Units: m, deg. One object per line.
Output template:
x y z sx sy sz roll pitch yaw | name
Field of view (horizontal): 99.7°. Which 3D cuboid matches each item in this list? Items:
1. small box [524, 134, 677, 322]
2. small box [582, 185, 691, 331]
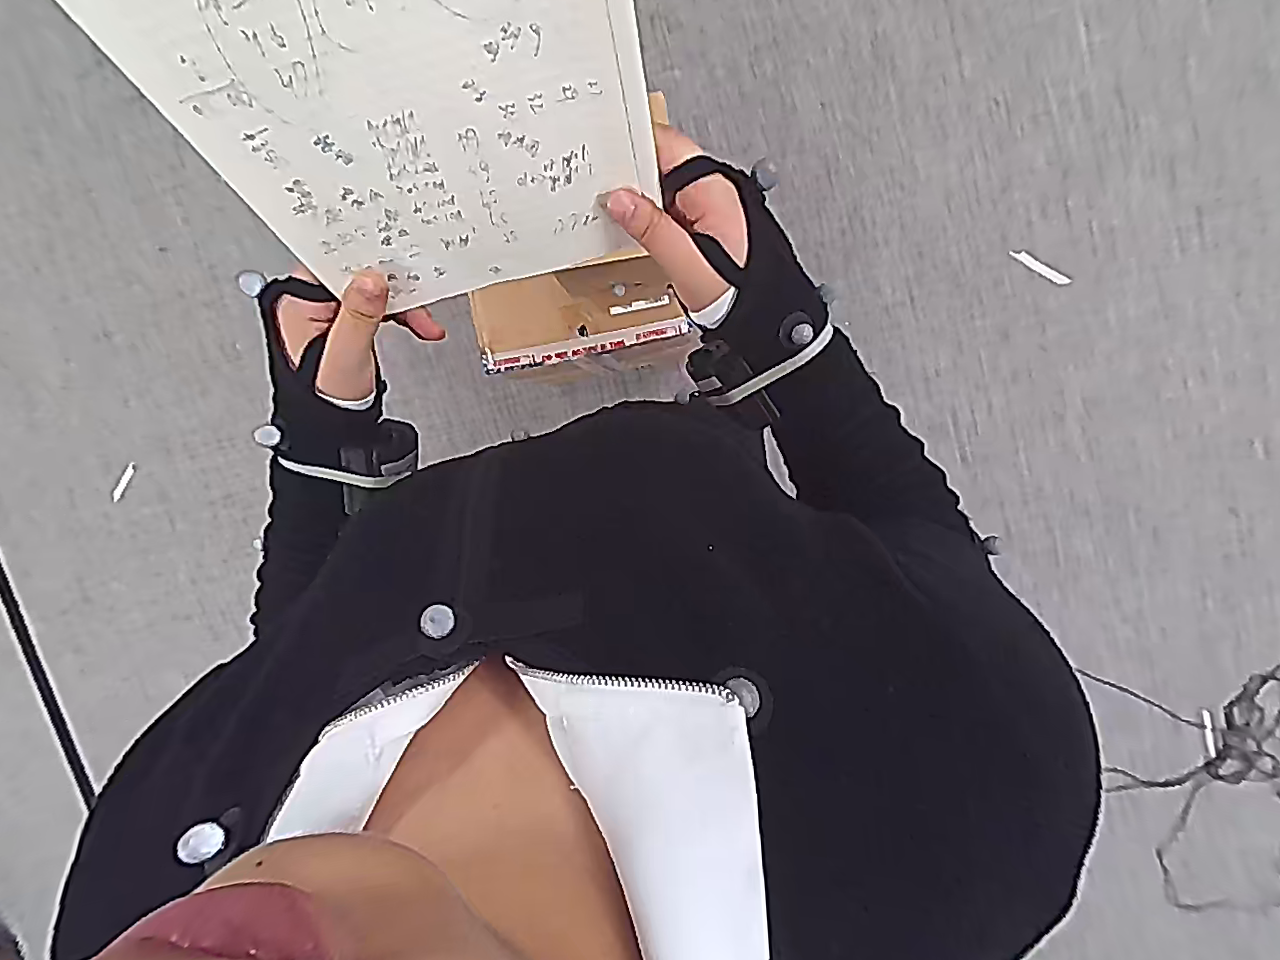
-0.045 -0.322 0.724 0.168 0.176 0.179 -8 99 3 | small box
-0.022 -0.351 0.886 0.179 0.176 0.168 -12 97 4 | small box
